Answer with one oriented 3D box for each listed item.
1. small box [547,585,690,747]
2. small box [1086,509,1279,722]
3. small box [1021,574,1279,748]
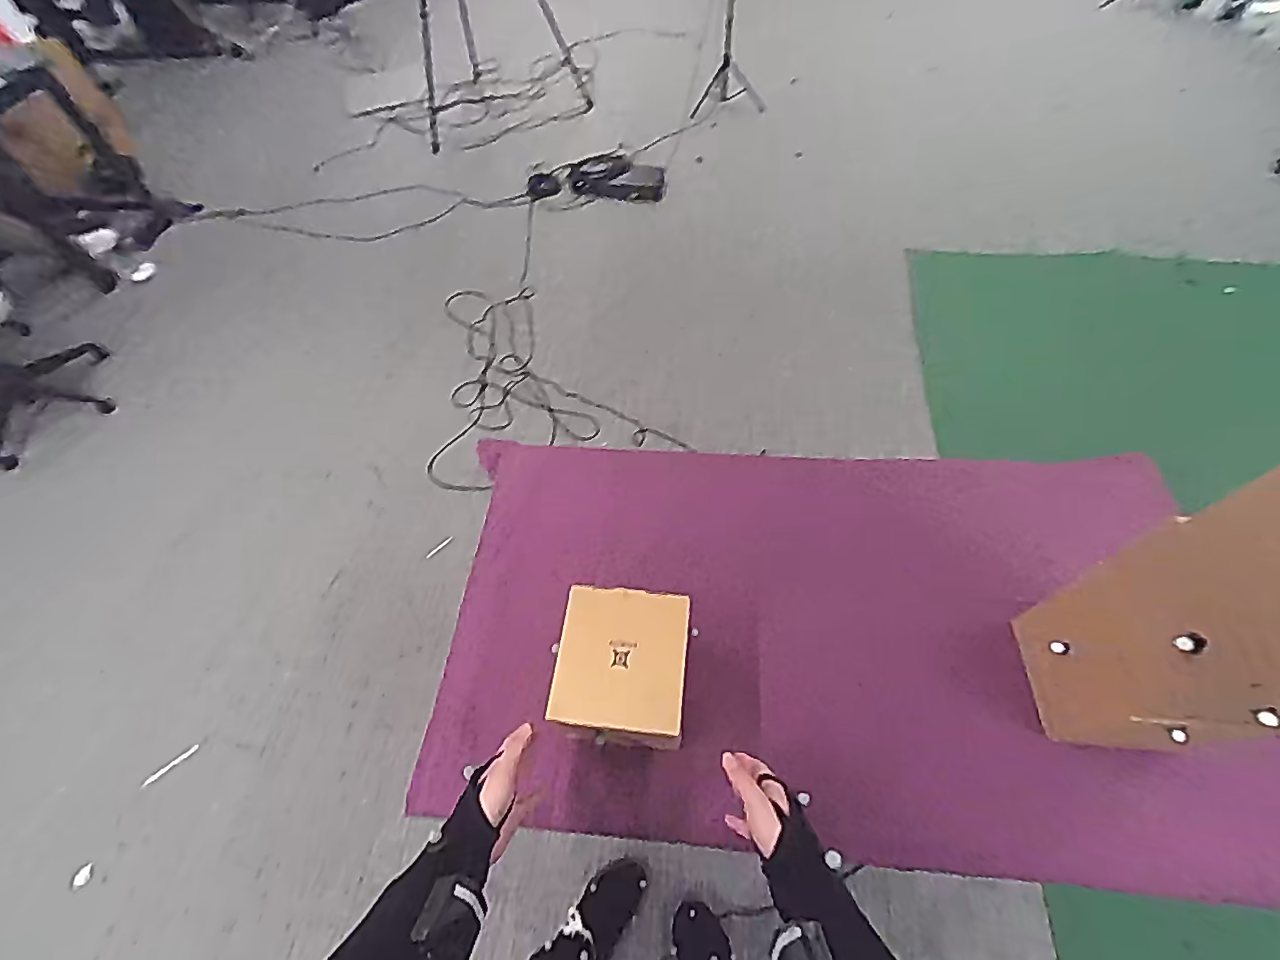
[{"bbox_3d":[-0.018,0.264,0.755,0.168,0.176,0.179,3,58,6],"label":"small box"},{"bbox_3d":[0.641,0.151,0.582,0.168,0.176,0.179,3,57,6],"label":"small box"},{"bbox_3d":[0.652,0.243,0.719,0.168,0.176,0.179,1,56,6],"label":"small box"}]
